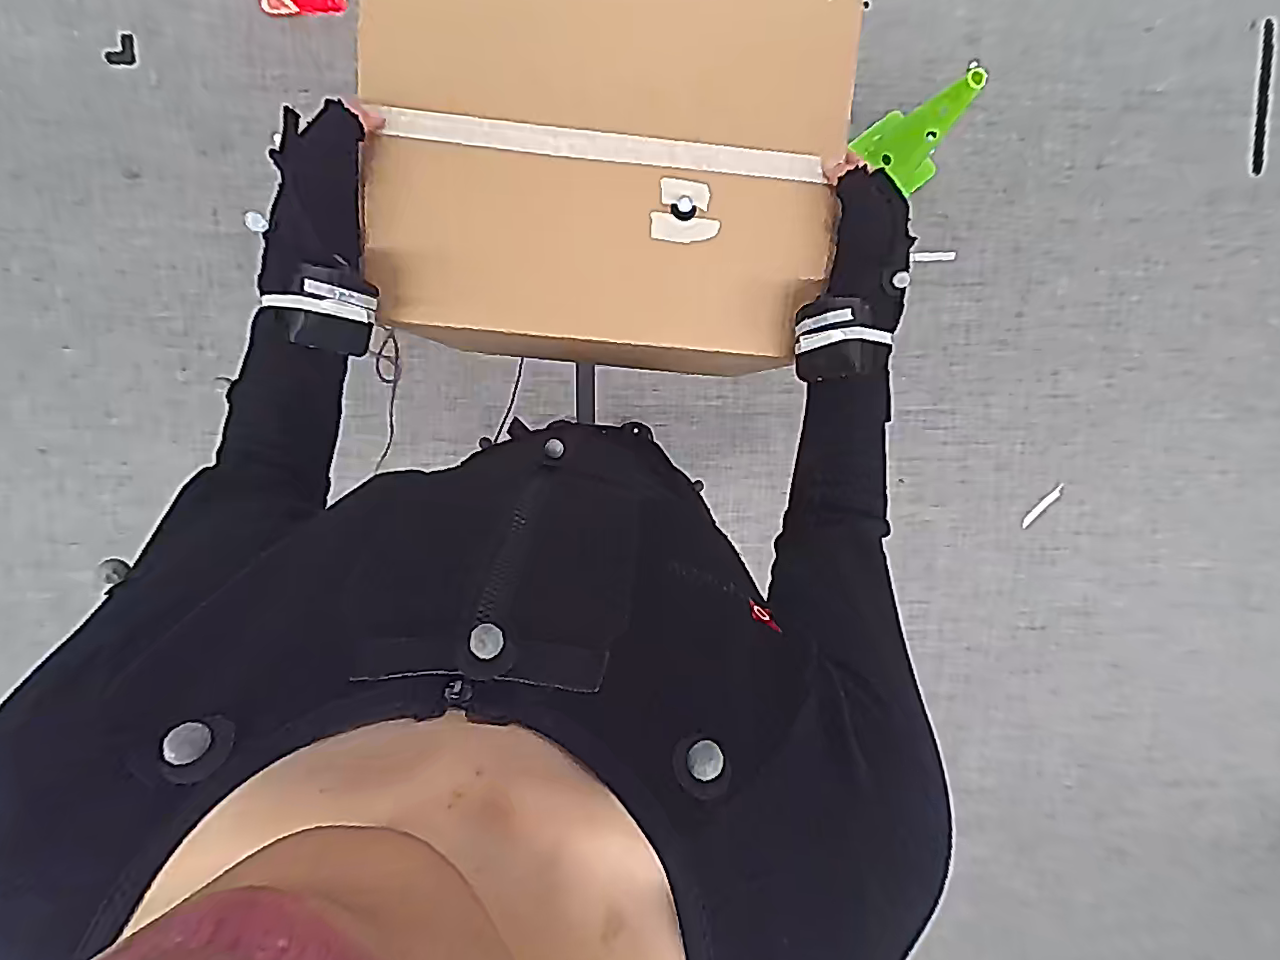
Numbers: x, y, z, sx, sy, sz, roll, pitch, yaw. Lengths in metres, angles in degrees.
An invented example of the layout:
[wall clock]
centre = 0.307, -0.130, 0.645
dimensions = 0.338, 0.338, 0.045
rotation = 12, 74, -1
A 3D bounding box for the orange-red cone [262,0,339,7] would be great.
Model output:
[orange-red cone]
centre = -0.812, -1.221, 1.128
dimensions = 0.198, 0.360, 0.199
rotation = -3, 98, -2

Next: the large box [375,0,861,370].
[large box]
centre = -0.032, -0.302, 0.606
dimensions = 0.408, 0.320, 0.320
rotation = 4, 98, -5

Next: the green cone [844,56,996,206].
[green cone]
centre = 0.671, -0.835, 1.250
dimensions = 0.202, 0.368, 0.200
rotation = -38, 98, 0
